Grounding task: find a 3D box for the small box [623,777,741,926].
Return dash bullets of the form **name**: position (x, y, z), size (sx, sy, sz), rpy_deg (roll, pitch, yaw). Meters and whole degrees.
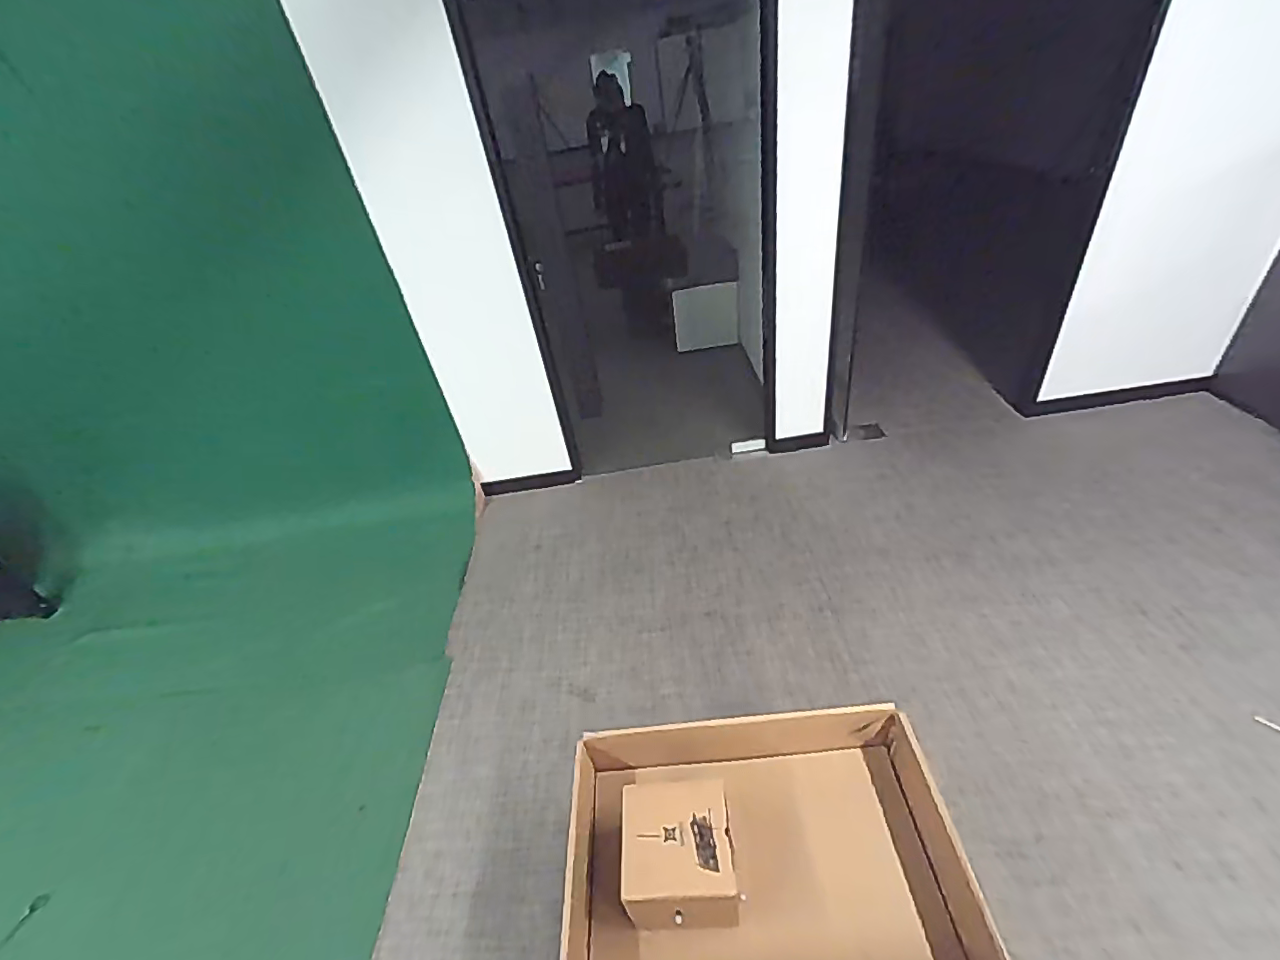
- **small box**: position (0.073, 0.624, 0.909), size (0.179, 0.176, 0.168), rpy_deg (-7, 37, 6)
